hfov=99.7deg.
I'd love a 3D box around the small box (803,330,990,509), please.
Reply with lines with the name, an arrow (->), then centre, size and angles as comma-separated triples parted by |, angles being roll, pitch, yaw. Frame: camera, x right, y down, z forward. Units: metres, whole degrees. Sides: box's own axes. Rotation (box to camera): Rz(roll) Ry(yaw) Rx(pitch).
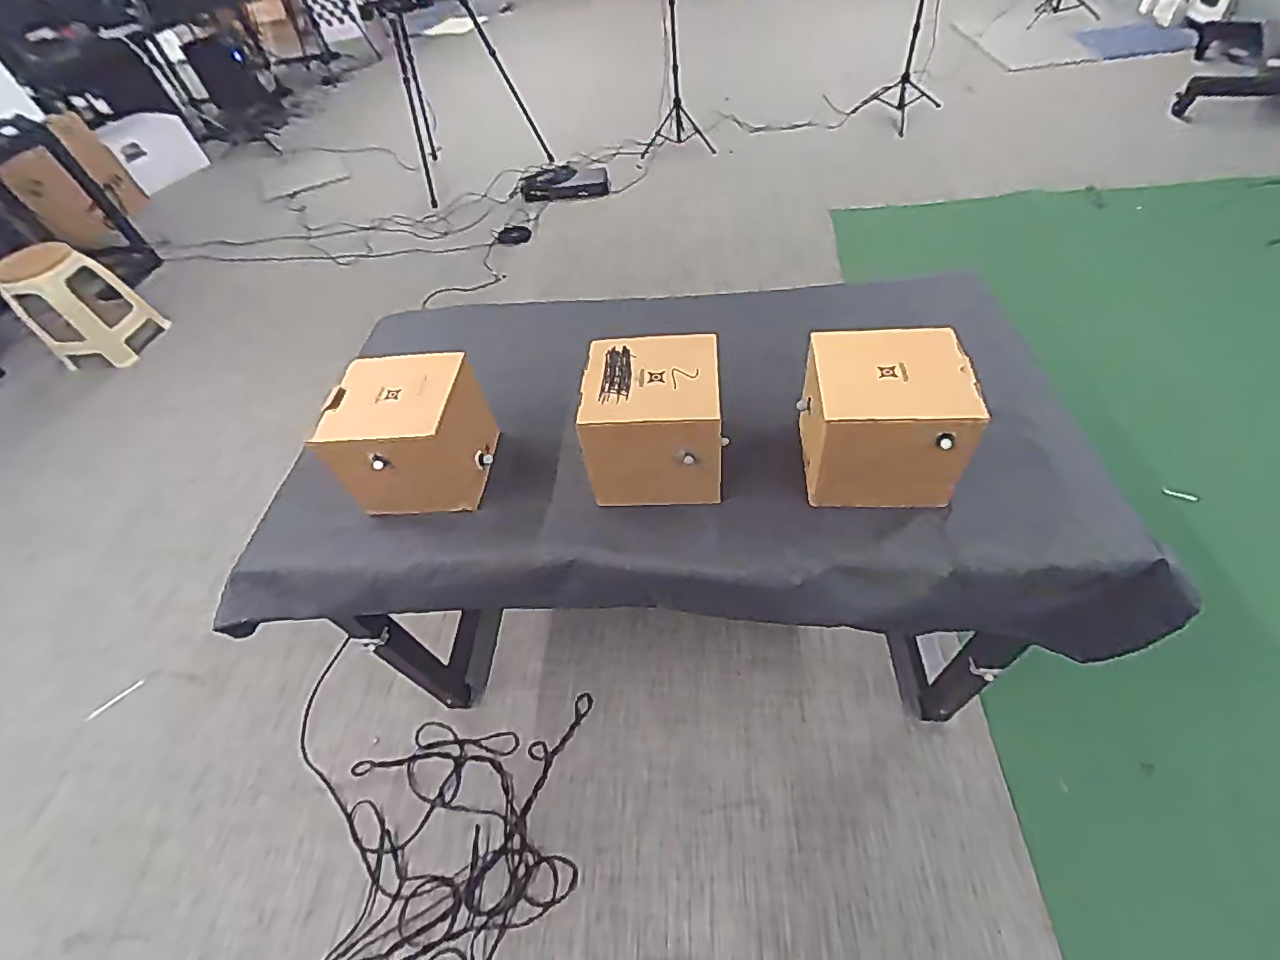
small box -> 0.312, -0.075, 0.706 | 0.179, 0.176, 0.168 | 0, 51, 9

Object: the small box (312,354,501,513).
small box -> -0.325, -0.063, 0.794 | 0.179, 0.176, 0.168 | -2, 52, 6
